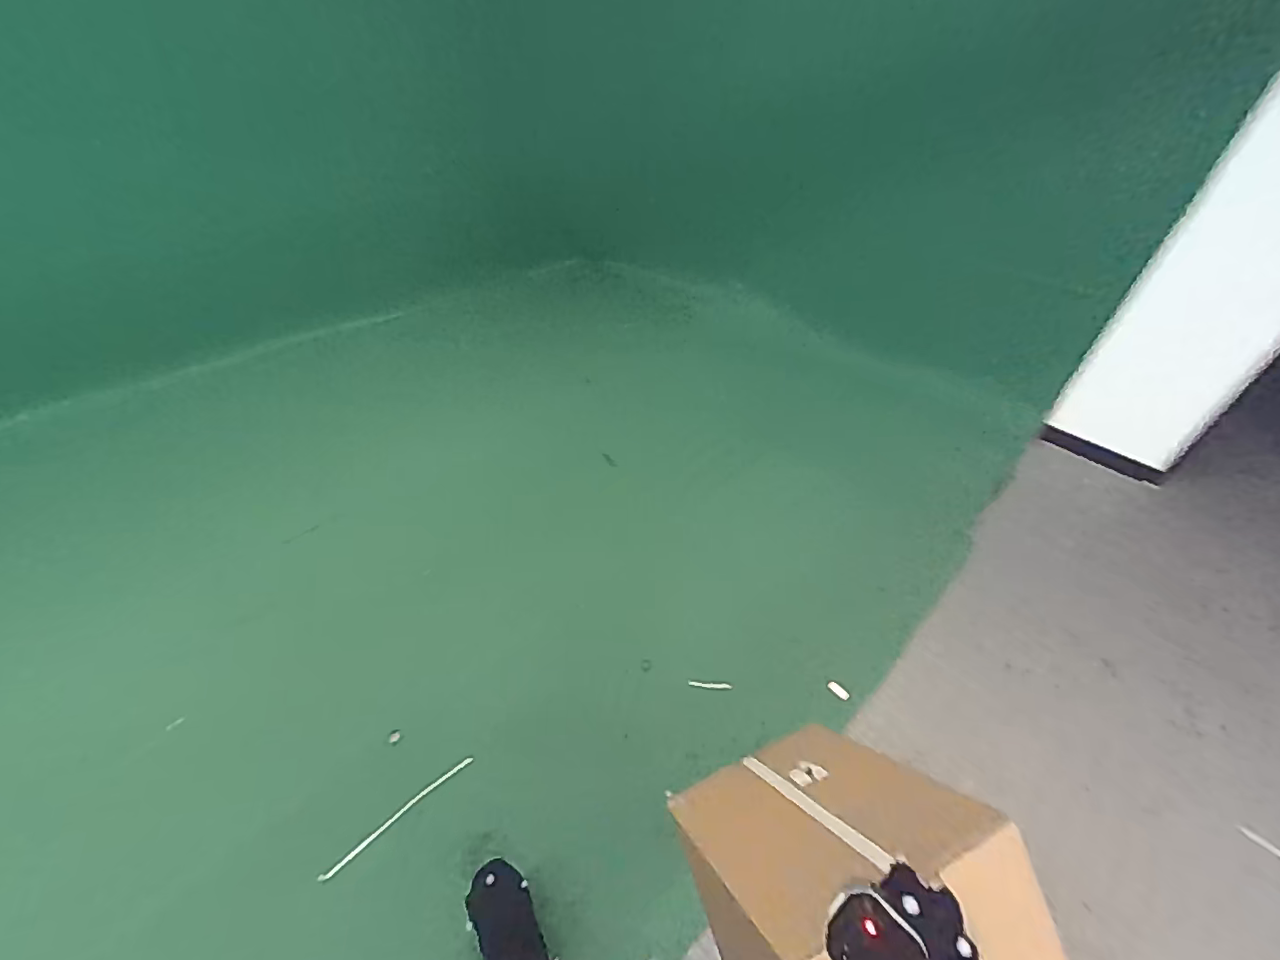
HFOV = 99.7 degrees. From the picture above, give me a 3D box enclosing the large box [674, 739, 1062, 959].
[{"bbox_3d":[0.295,0.624,0.754,0.320,0.408,0.320,-17,83,-17],"label":"large box"}]
